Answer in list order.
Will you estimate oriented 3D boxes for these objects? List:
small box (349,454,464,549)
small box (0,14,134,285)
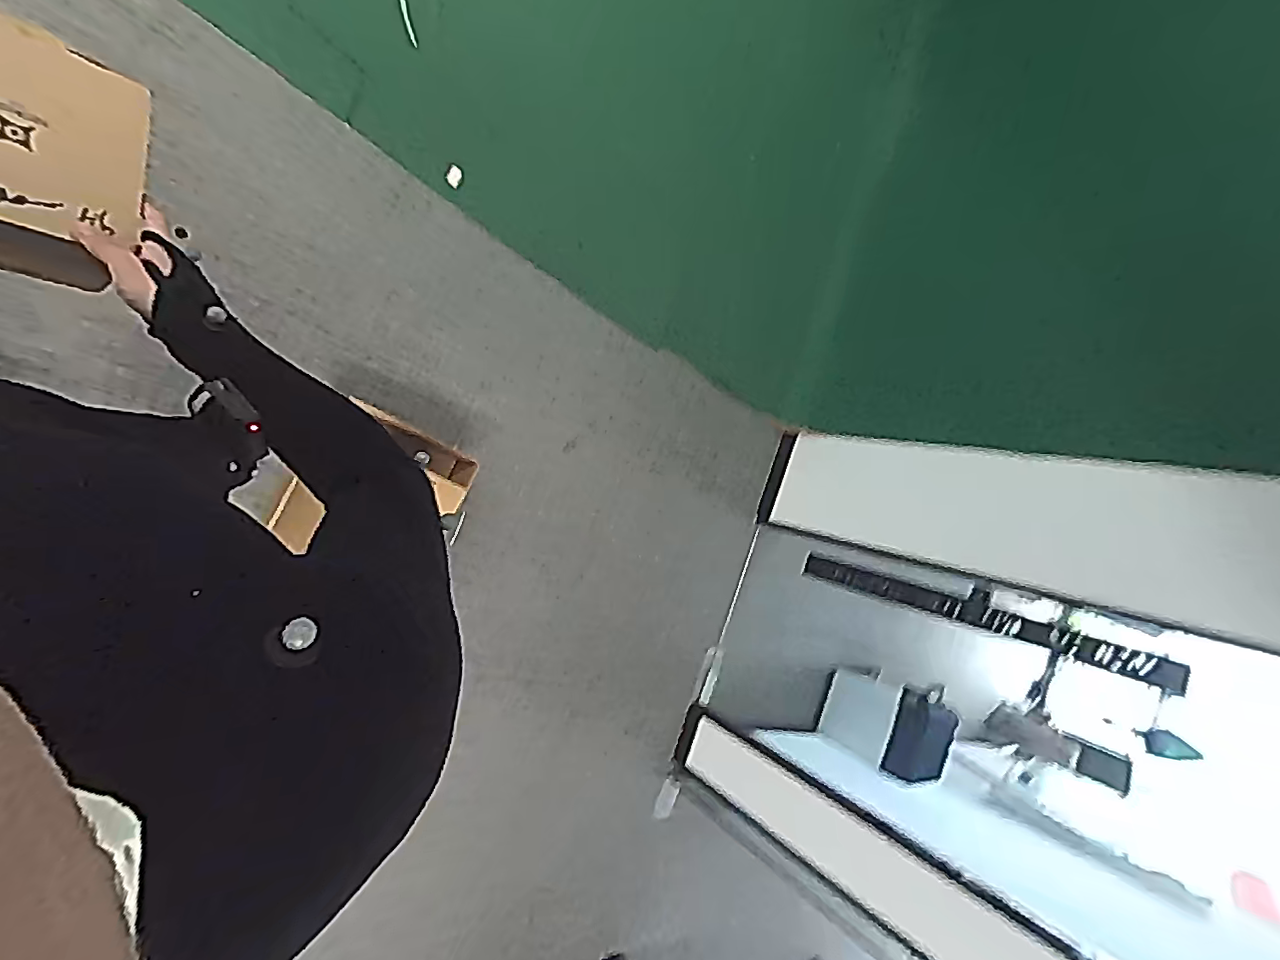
[{"bbox_3d":[-0.569,0.047,1.313,0.179,0.176,0.168,32,79,-41],"label":"small box"},{"bbox_3d":[-0.601,-0.304,0.496,0.168,0.176,0.179,5,86,-53],"label":"small box"}]
